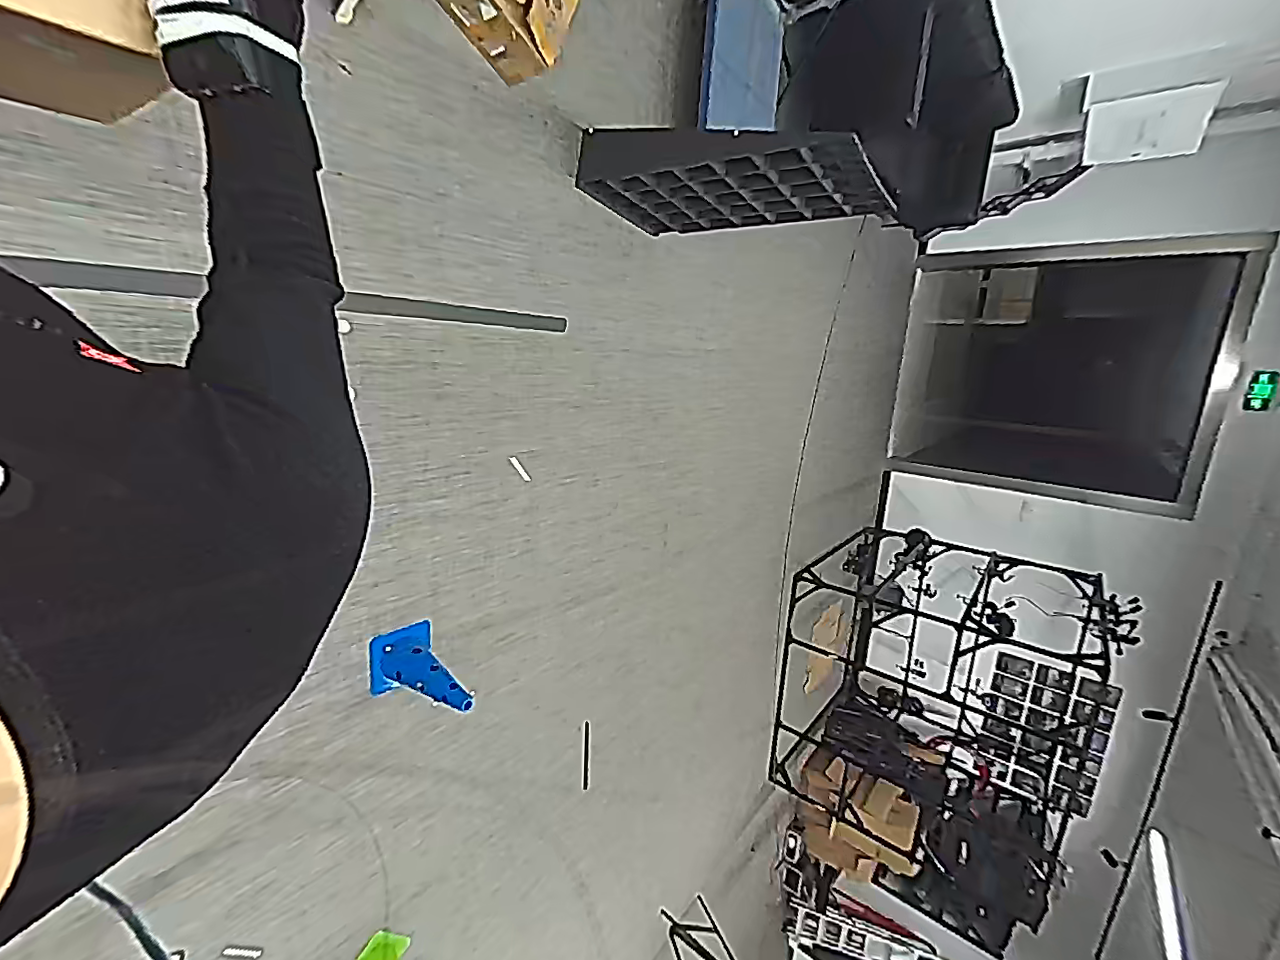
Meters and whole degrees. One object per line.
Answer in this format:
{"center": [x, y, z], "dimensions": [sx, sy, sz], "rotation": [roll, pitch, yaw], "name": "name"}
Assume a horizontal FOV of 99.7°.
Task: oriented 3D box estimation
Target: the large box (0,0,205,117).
{"center": [-0.532, -0.437, 0.269], "dimensions": [0.408, 0.320, 0.320], "rotation": [-16, 118, -51], "name": "large box"}

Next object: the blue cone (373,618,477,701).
{"center": [-0.632, 0.581, 1.636], "dimensions": [0.192, 0.380, 0.193], "rotation": [-9, 108, -53], "name": "blue cone"}

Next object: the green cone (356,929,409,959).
{"center": [-0.779, 1.696, 1.759], "dimensions": [0.202, 0.368, 0.200], "rotation": [-55, 139, -30], "name": "green cone"}
